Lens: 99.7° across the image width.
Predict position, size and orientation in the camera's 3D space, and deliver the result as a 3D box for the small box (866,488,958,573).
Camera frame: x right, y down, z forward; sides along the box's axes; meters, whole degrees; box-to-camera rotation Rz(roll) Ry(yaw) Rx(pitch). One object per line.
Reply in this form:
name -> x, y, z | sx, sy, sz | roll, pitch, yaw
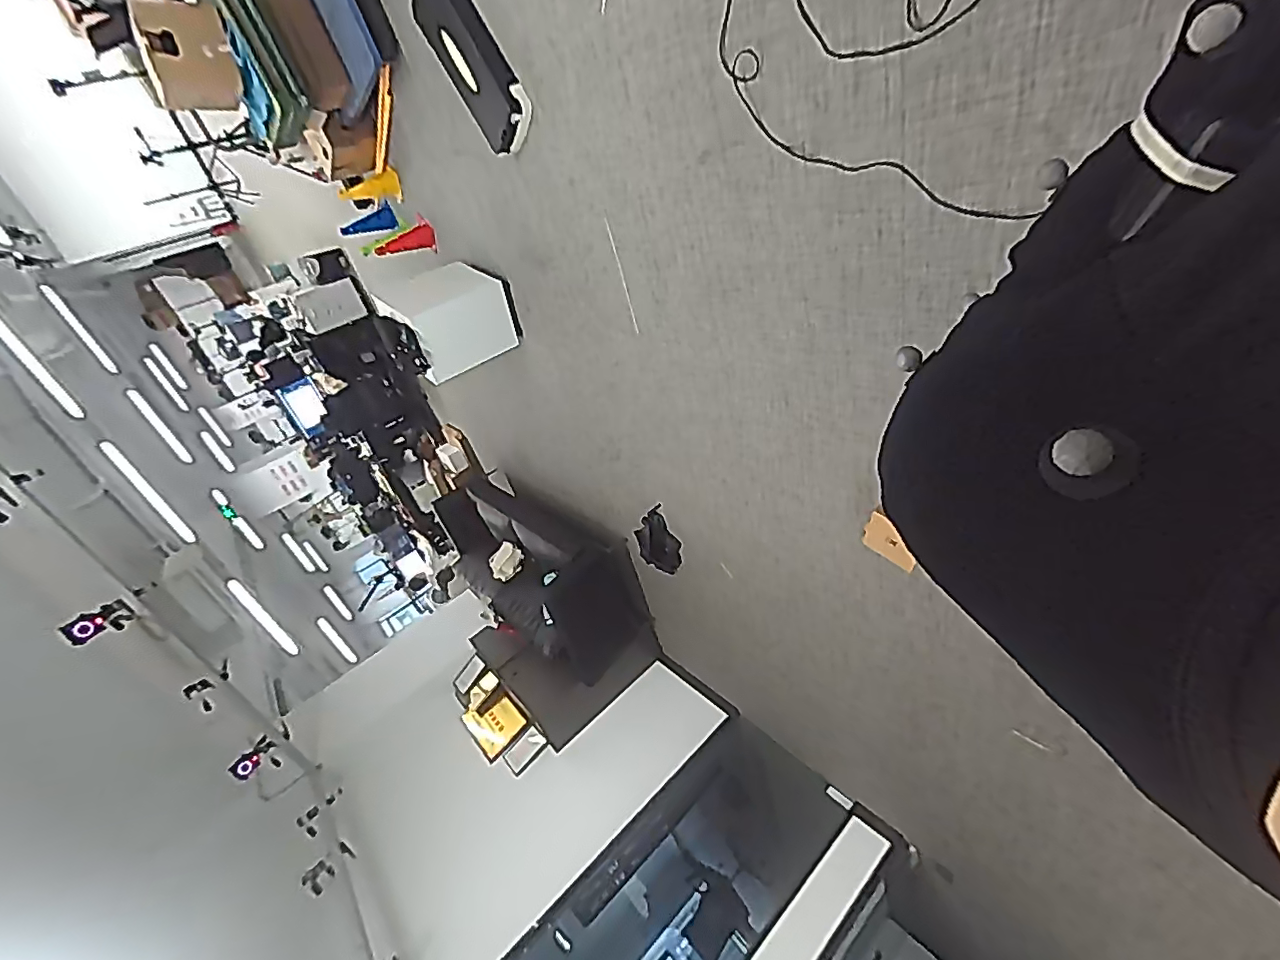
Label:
small box -> 0.848, 0.150, 1.690 | 0.179, 0.176, 0.168 | 36, 149, 33
